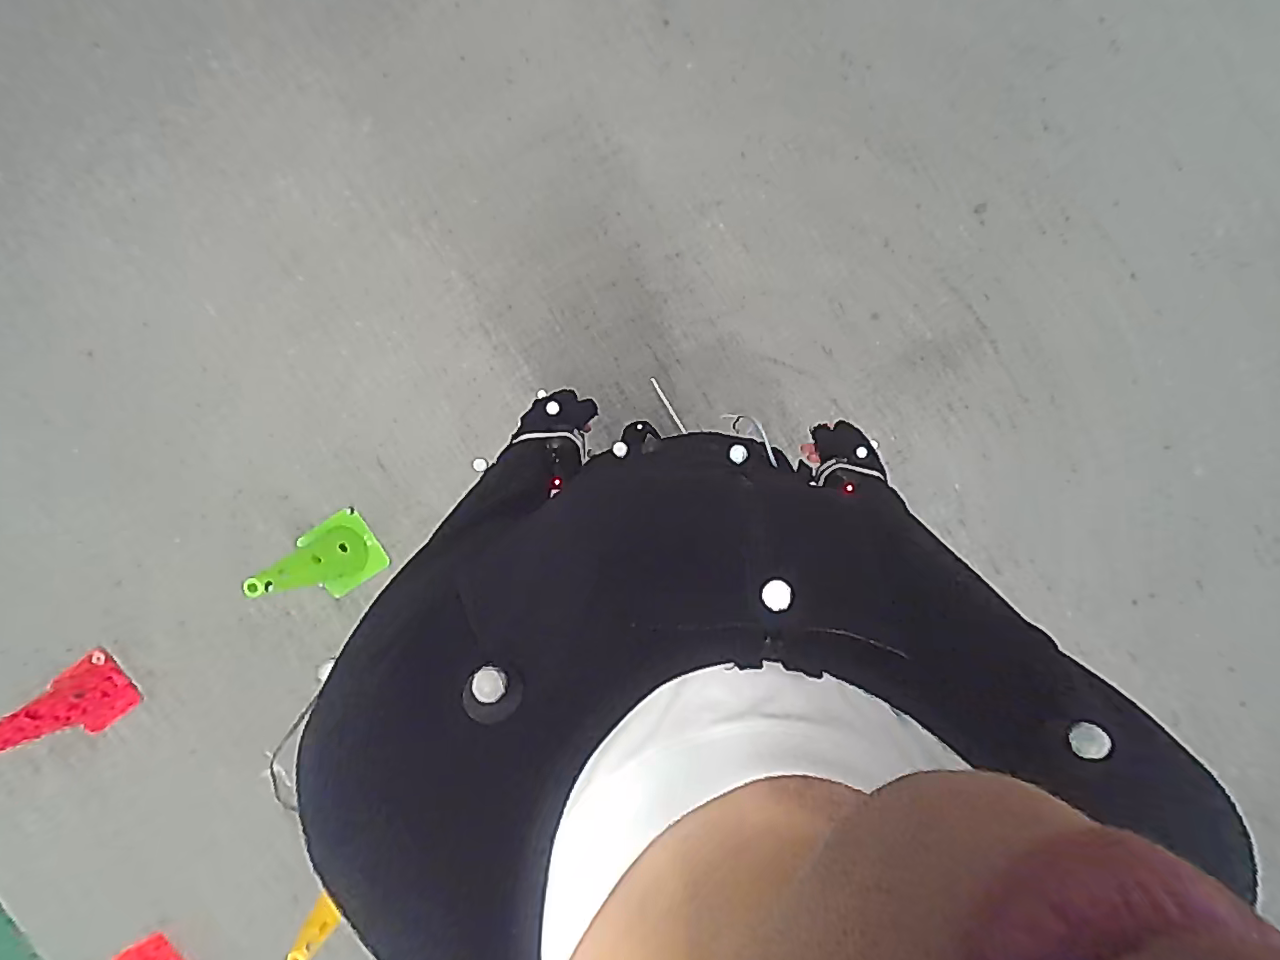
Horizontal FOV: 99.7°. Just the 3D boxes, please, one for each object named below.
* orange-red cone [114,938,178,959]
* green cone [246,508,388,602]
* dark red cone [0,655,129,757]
[{"bbox_3d":[-1.483,1.515,1.470,0.199,0.360,0.198,-31,95,3],"label":"orange-red cone"},{"bbox_3d":[-0.833,0.221,1.338,0.200,0.368,0.202,-33,95,4],"label":"green cone"},{"bbox_3d":[-1.573,0.632,1.367,0.201,0.394,0.202,-37,94,5],"label":"dark red cone"}]
